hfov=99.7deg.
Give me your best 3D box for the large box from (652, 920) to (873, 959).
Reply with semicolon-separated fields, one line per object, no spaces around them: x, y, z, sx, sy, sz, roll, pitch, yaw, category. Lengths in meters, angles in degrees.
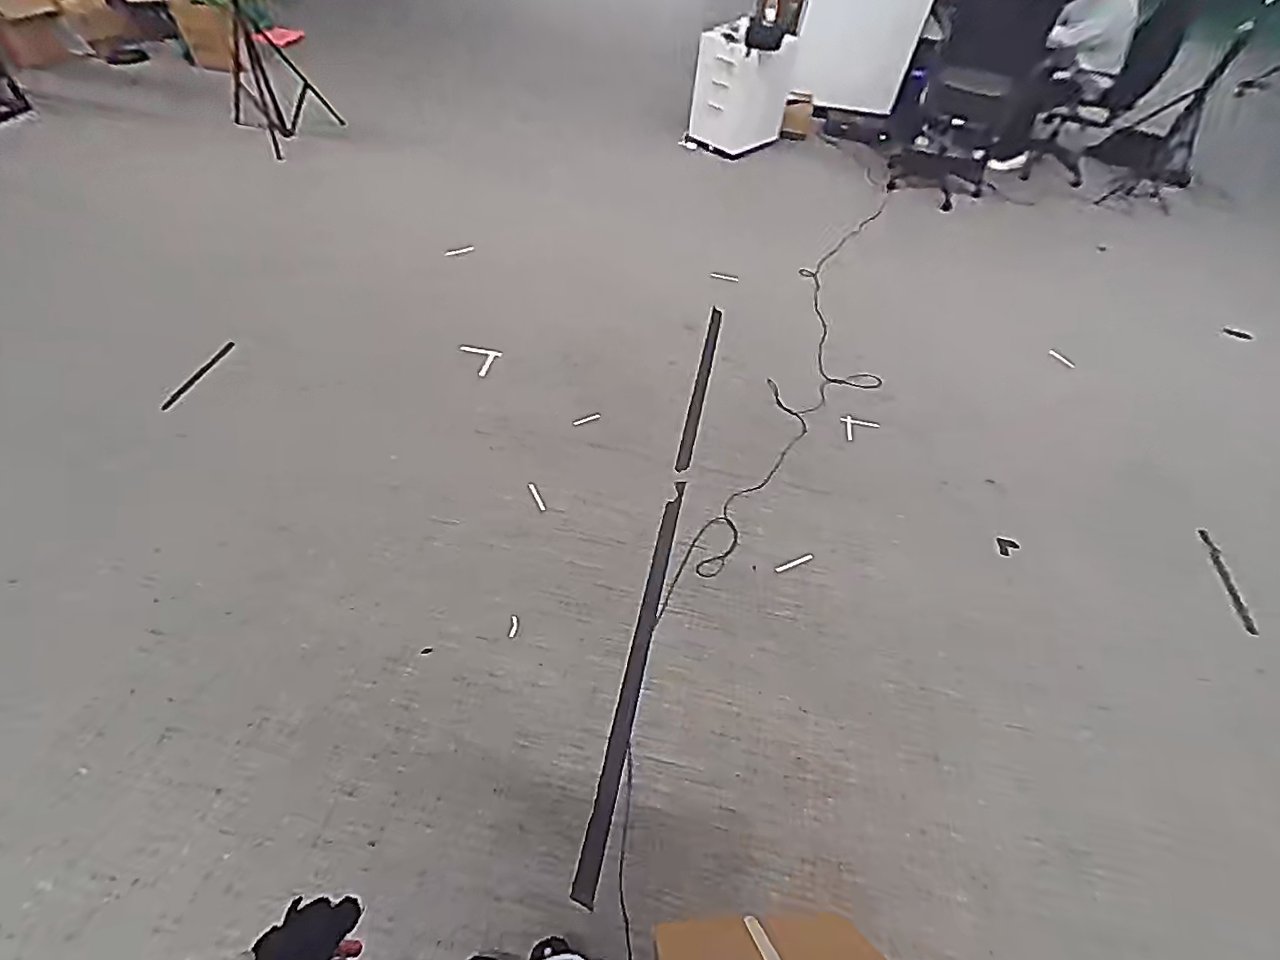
0.188;0.800;0.643;0.320;0.408;0.320;0;71;-4;large box
